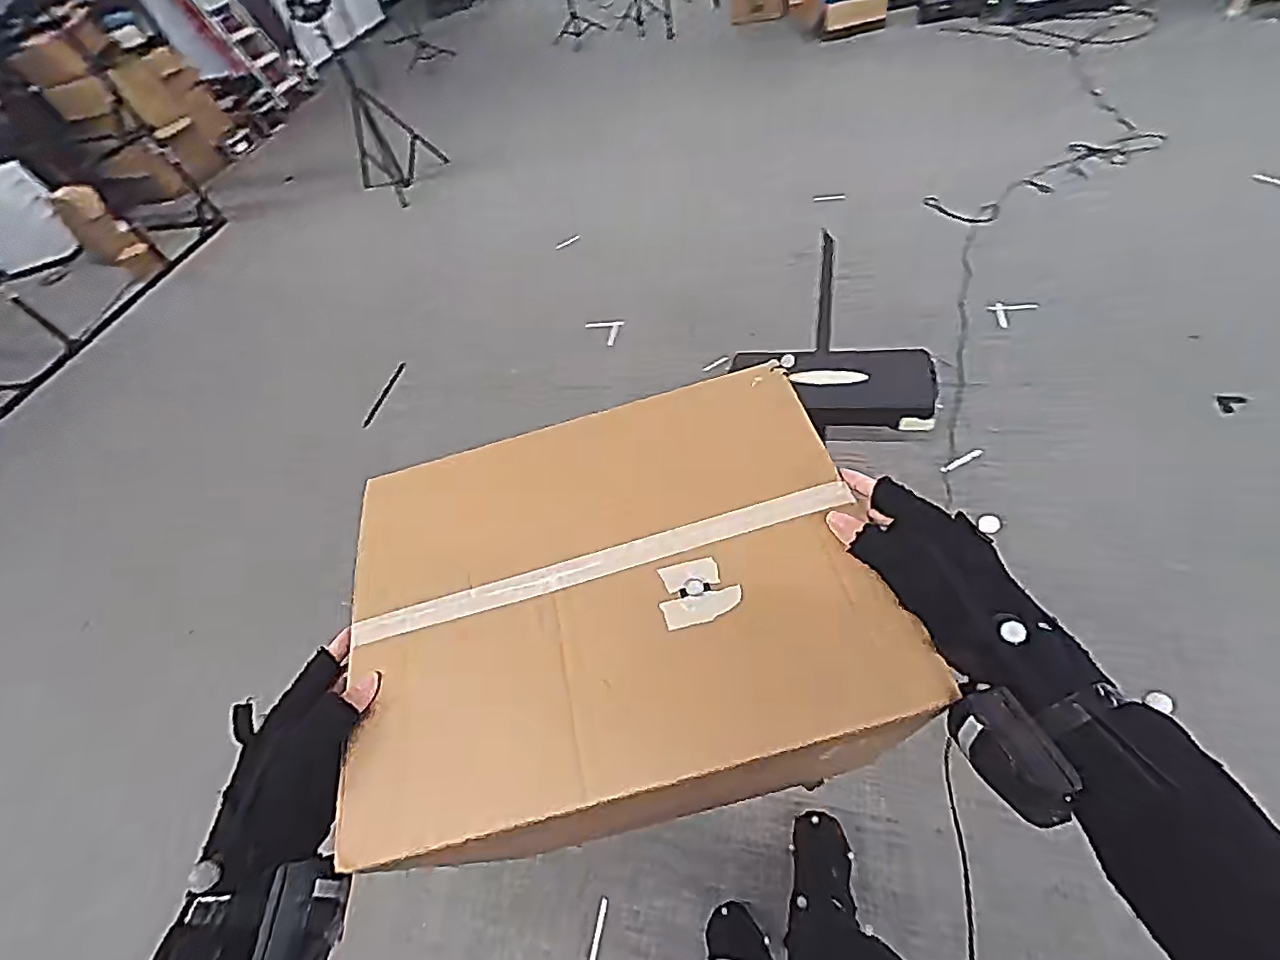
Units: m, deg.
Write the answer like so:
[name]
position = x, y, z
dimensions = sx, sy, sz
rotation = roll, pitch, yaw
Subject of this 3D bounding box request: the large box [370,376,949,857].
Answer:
[large box]
position = 0.004, 0.155, 0.557
dimensions = 0.408, 0.320, 0.320
rotation = -16, 55, 1
